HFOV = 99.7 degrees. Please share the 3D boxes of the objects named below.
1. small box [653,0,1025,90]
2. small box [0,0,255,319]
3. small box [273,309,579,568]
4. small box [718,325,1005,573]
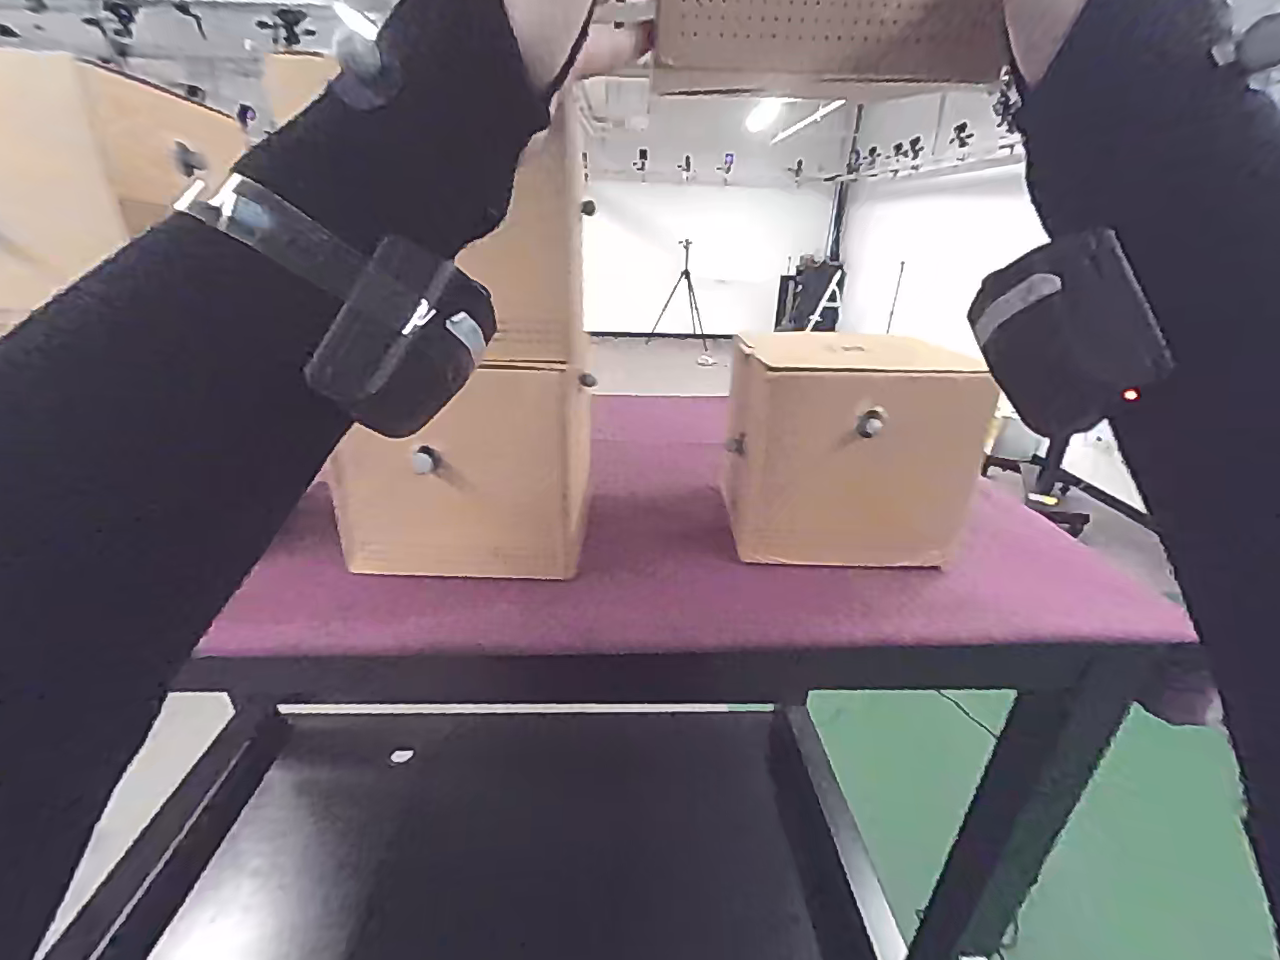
[{"bbox_3d":[0.101,-0.309,0.276,0.179,0.176,0.168,3,32,0],"label":"small box"},{"bbox_3d":[-0.412,-0.210,0.382,0.168,0.176,0.179,1,24,-7],"label":"small box"},{"bbox_3d":[-0.146,-0.041,0.443,0.179,0.176,0.168,2,25,-1],"label":"small box"},{"bbox_3d":[0.162,-0.034,0.467,0.179,0.176,0.168,4,24,2],"label":"small box"}]
